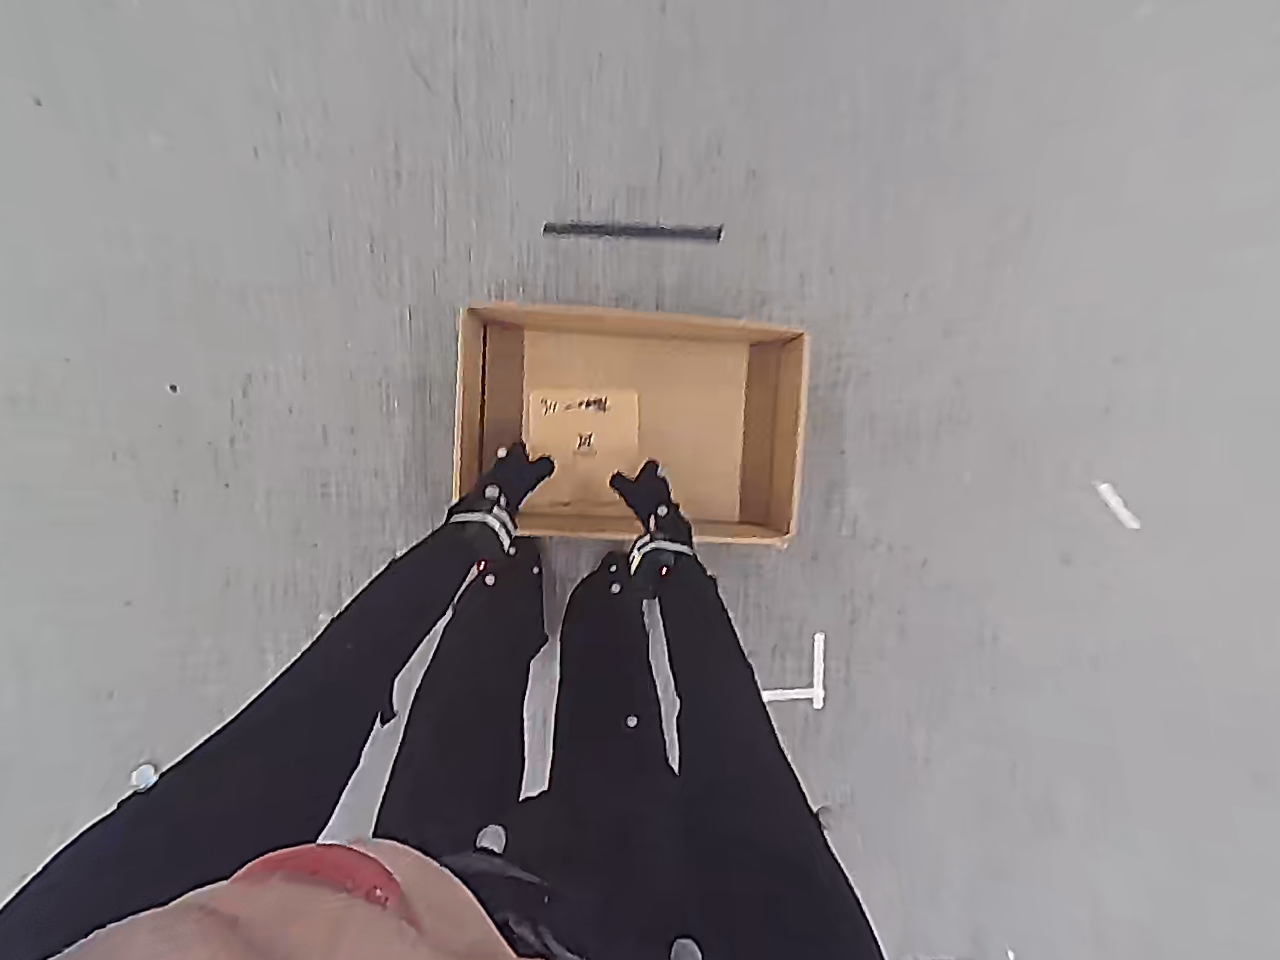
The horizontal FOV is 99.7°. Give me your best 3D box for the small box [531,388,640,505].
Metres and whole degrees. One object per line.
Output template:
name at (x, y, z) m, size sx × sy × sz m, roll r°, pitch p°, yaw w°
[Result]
small box at (-0.086, -0.051, 0.891) m, size 0.168 × 0.176 × 0.179 m, roll -1°, pitch 89°, yaw -5°
